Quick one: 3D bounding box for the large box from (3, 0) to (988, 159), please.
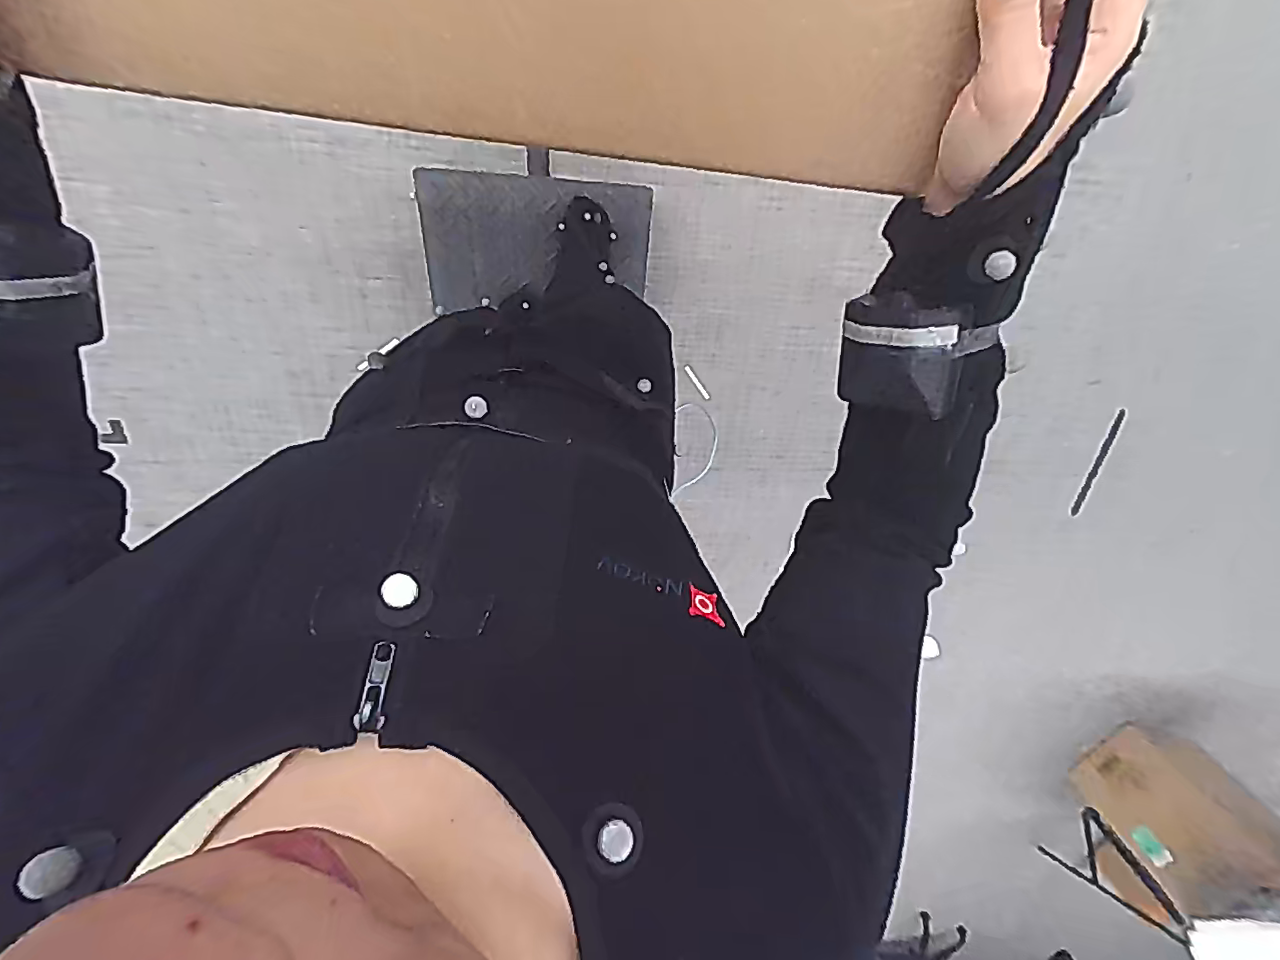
[{"bbox_3d":[-0.047,-0.380,0.247,0.408,0.320,0.320,3,135,-7],"label":"large box"}]

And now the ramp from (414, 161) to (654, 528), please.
[{"bbox_3d":[-0.253,-0.243,1.409,0.509,0.206,0.991,0,118,-7],"label":"ramp"}]
